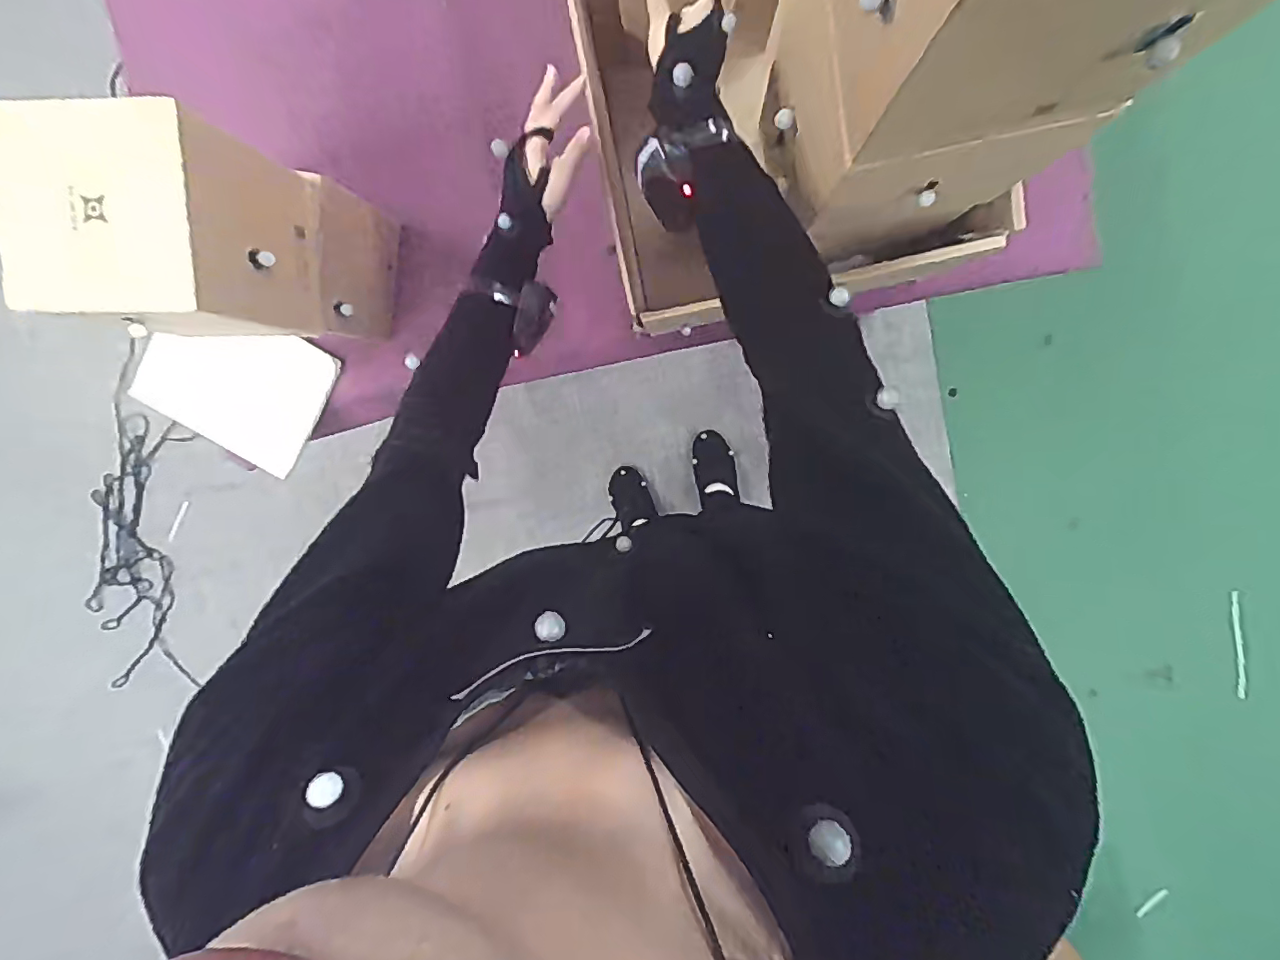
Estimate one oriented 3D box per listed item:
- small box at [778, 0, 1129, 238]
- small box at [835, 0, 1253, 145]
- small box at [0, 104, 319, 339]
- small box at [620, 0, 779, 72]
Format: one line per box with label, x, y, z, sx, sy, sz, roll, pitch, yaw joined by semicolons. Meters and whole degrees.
small box;0.215;-0.306;0.415;0.179;0.176;0.168;-9;97;8
small box;0.196;-0.289;0.254;0.168;0.176;0.179;-9;97;6
small box;-0.440;-0.231;0.523;0.179;0.176;0.168;1;98;5
small box;0.058;-0.570;0.556;0.168;0.176;0.179;-3;99;5
